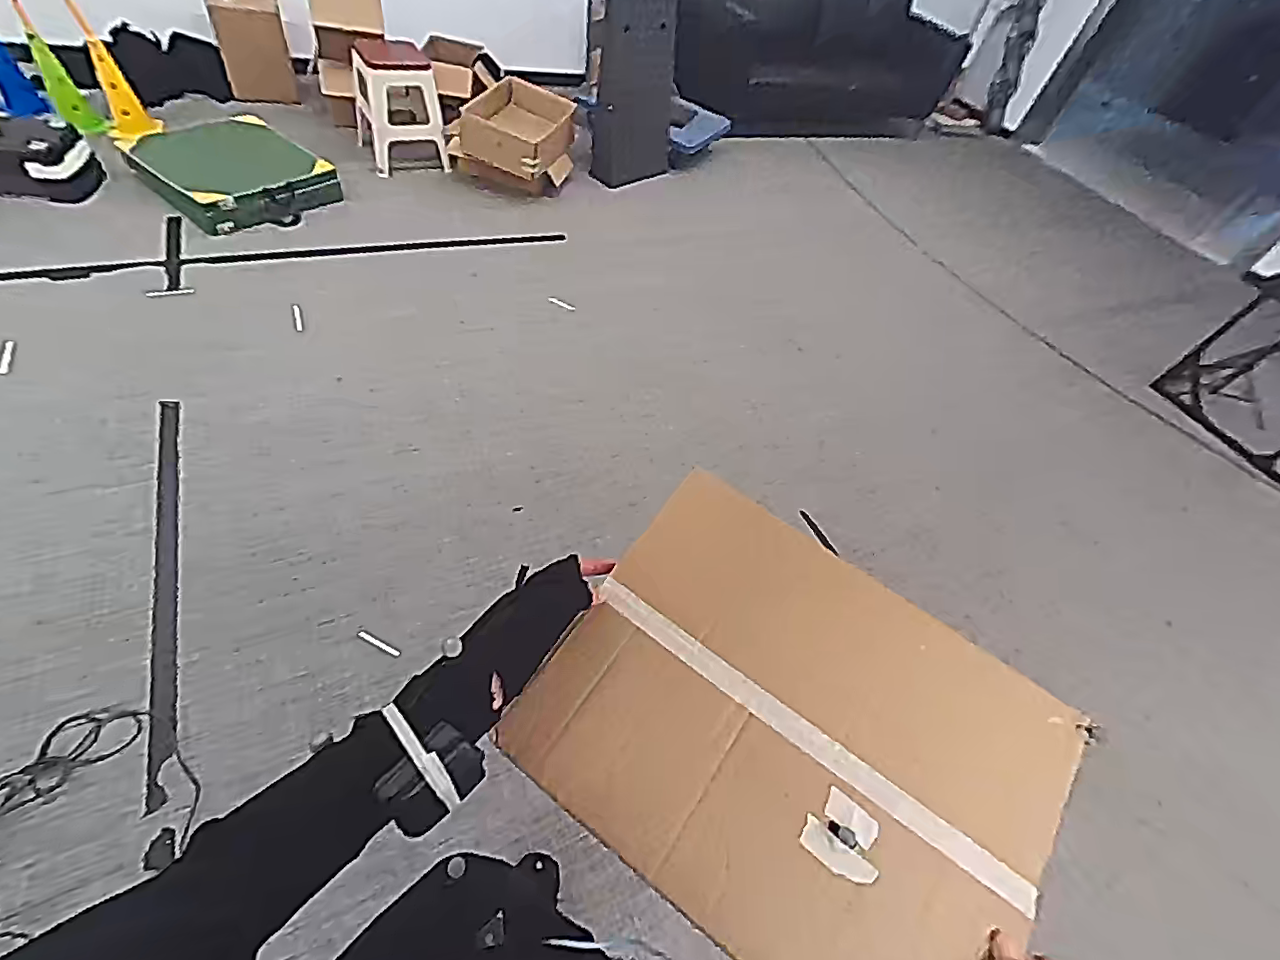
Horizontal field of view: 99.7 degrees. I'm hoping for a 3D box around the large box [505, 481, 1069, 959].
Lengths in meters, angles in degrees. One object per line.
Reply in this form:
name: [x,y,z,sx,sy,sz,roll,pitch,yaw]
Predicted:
large box: [0.125,0.275,0.598,0.408,0.320,0.320,34,69,14]
